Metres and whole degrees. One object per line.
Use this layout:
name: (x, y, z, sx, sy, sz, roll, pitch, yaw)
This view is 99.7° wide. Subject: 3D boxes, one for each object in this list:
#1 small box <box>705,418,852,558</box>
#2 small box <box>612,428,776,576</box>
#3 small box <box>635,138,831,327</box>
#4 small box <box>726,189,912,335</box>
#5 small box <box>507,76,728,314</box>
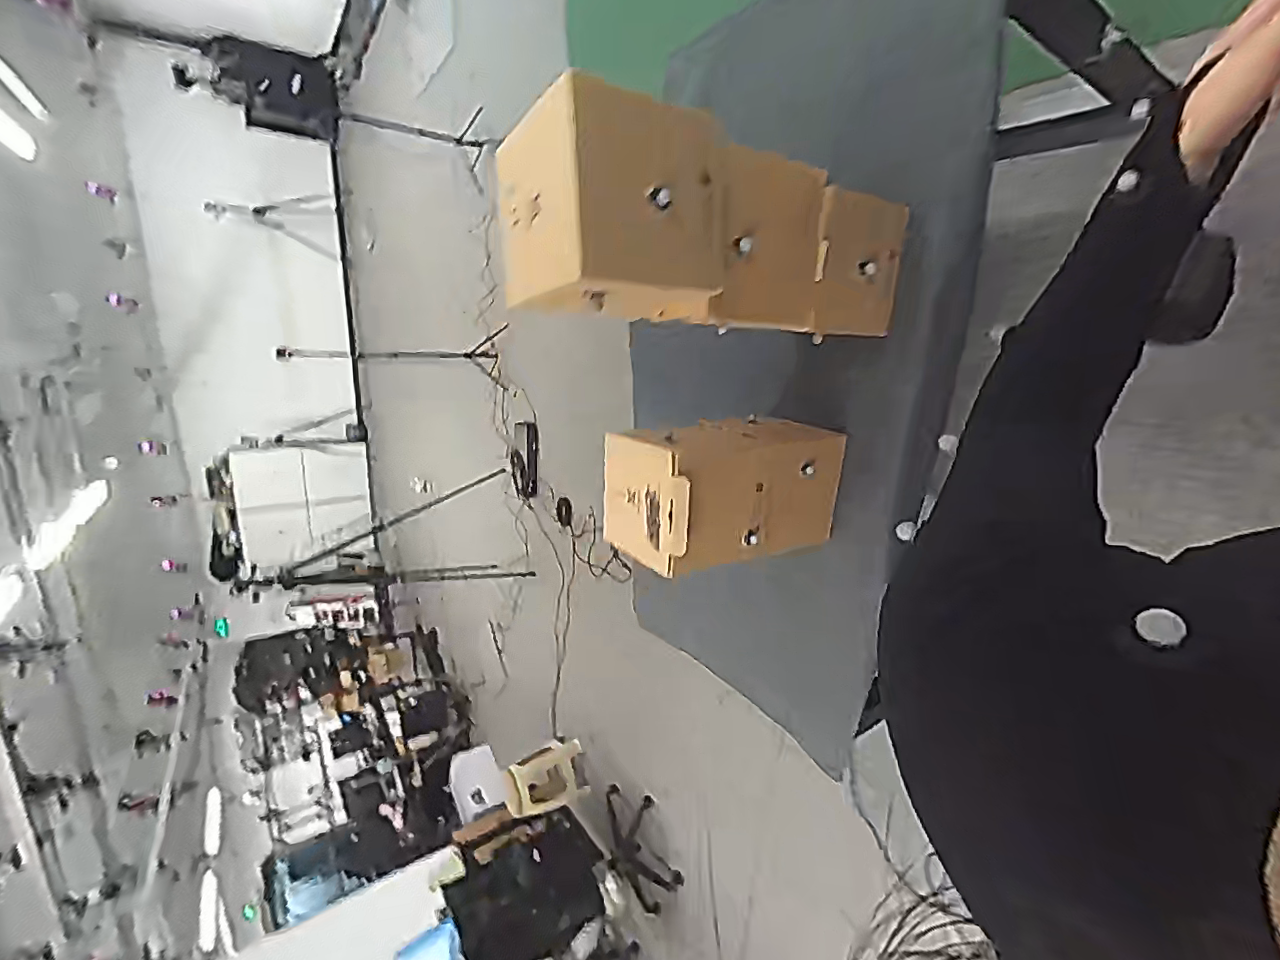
small box: (0.212, 0.001, 0.864, 0.168, 0.176, 0.179, 26, 119, 53)
small box: (0.074, 0.018, 0.777, 0.179, 0.176, 0.168, 22, 114, 55)
small box: (0.110, -0.283, 0.661, 0.168, 0.176, 0.179, 24, 117, 53)
small box: (0.244, -0.292, 0.752, 0.179, 0.176, 0.168, 26, 118, 52)
small box: (-0.023, -0.270, 0.562, 0.179, 0.176, 0.168, 11, 106, 56)
